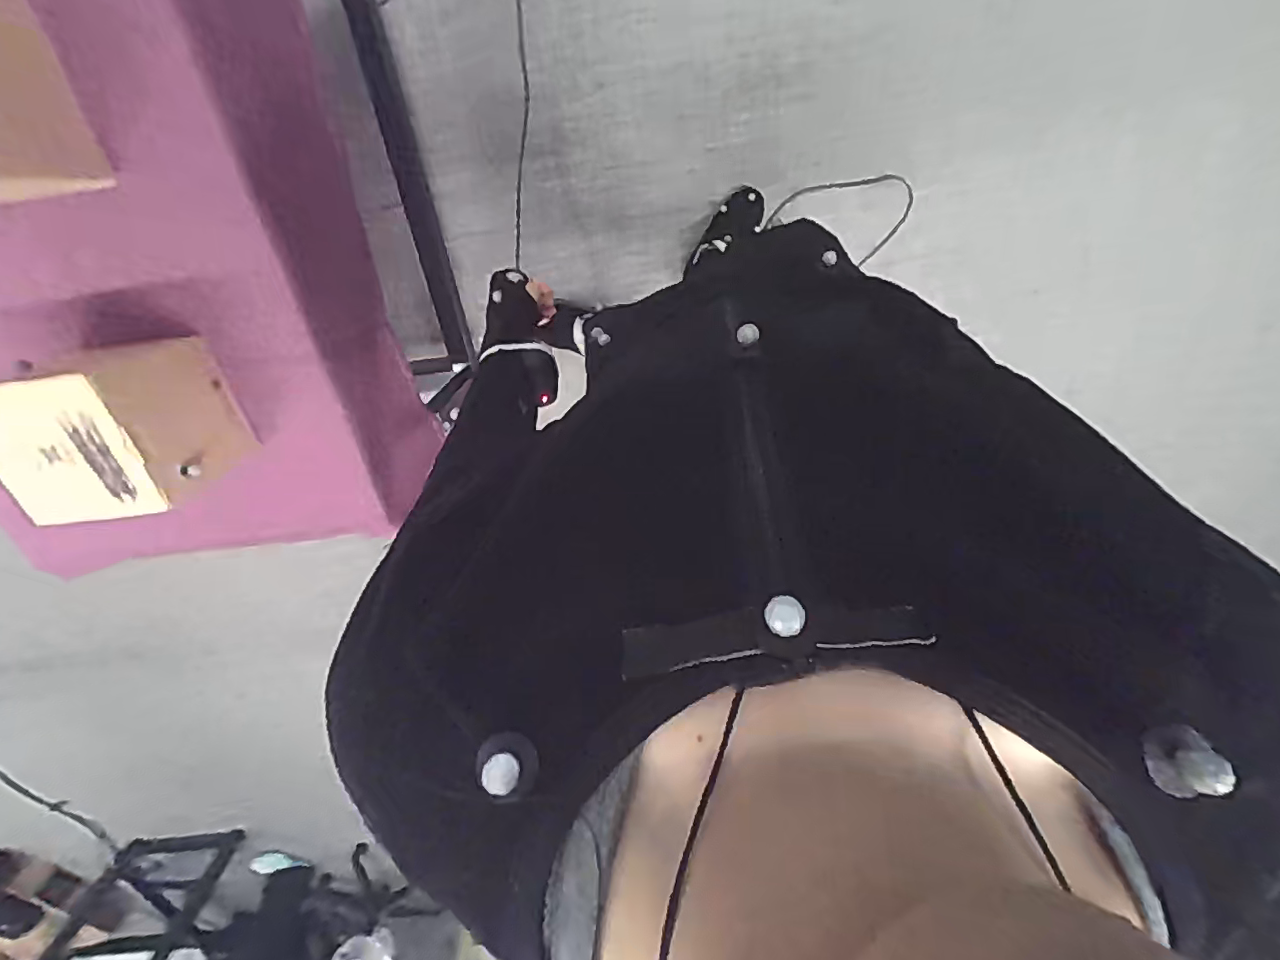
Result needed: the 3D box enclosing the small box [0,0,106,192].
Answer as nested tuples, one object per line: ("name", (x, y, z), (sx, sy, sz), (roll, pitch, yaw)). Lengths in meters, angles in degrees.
("small box", (-0.683, -0.373, 0.508), (0.168, 0.176, 0.179), (-6, 117, 4))
